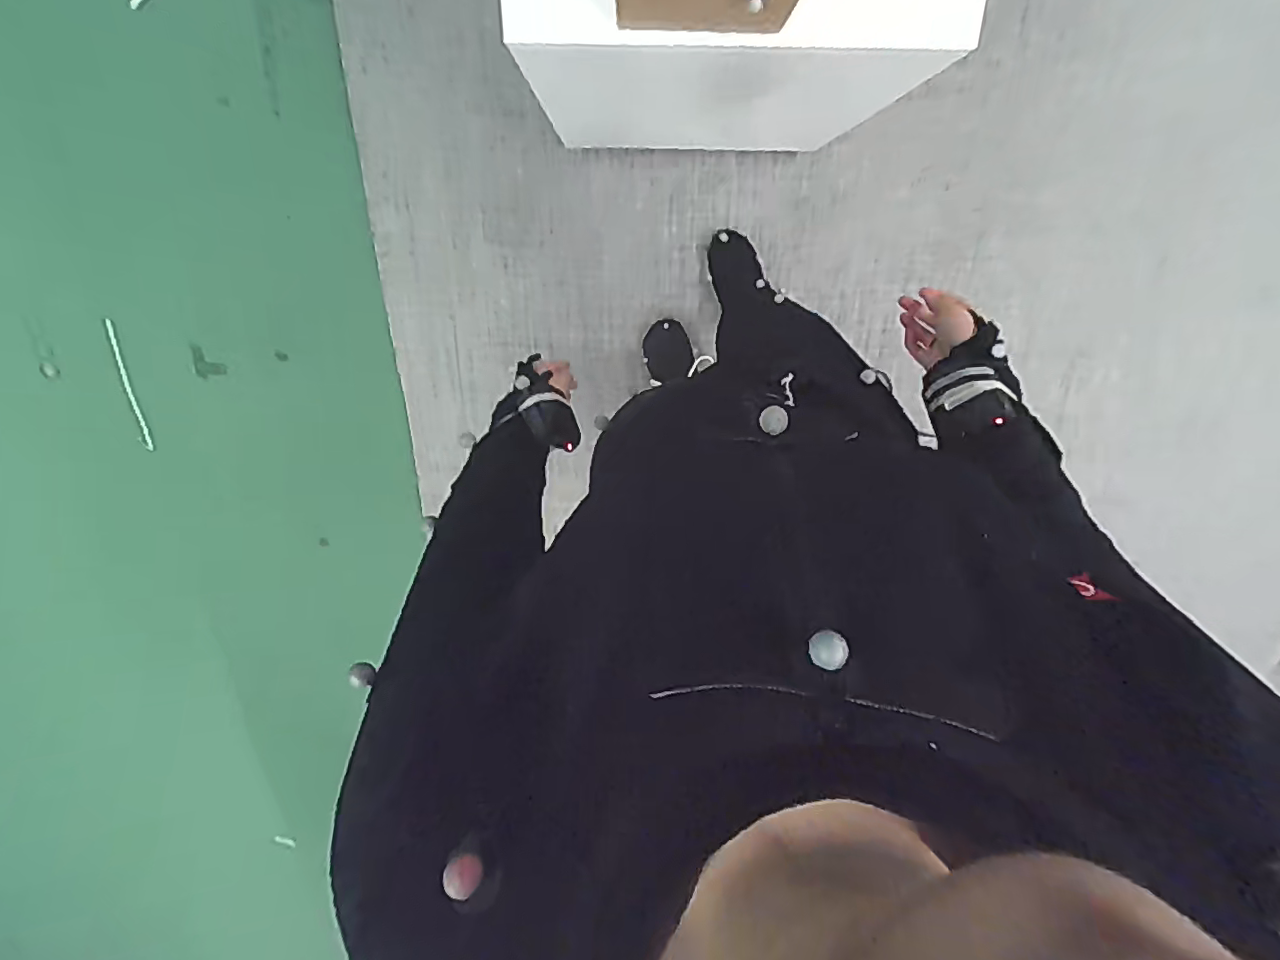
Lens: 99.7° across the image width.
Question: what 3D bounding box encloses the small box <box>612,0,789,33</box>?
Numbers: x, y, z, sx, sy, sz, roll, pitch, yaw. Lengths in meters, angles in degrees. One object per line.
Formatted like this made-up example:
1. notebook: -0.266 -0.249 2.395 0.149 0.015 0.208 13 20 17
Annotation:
1. small box: 0.062 -0.519 0.464 0.179 0.176 0.168 0 110 0
